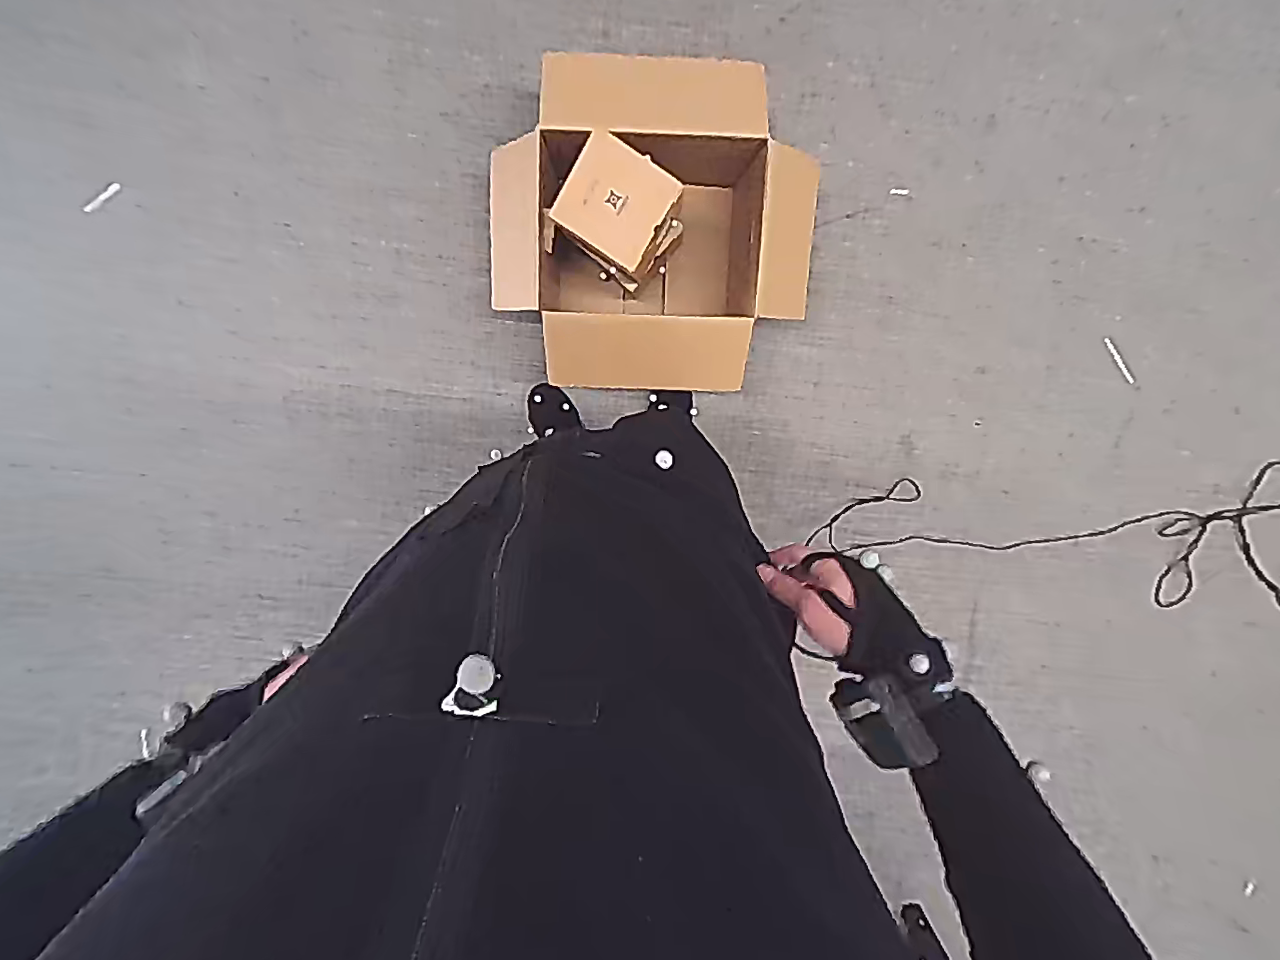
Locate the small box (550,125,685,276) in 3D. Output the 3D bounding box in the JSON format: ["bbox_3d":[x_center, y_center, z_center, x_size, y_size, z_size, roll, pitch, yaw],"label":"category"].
[{"bbox_3d":[-0.035,-0.494,0.990,0.179,0.176,0.168,33,103,-5],"label":"small box"}]
